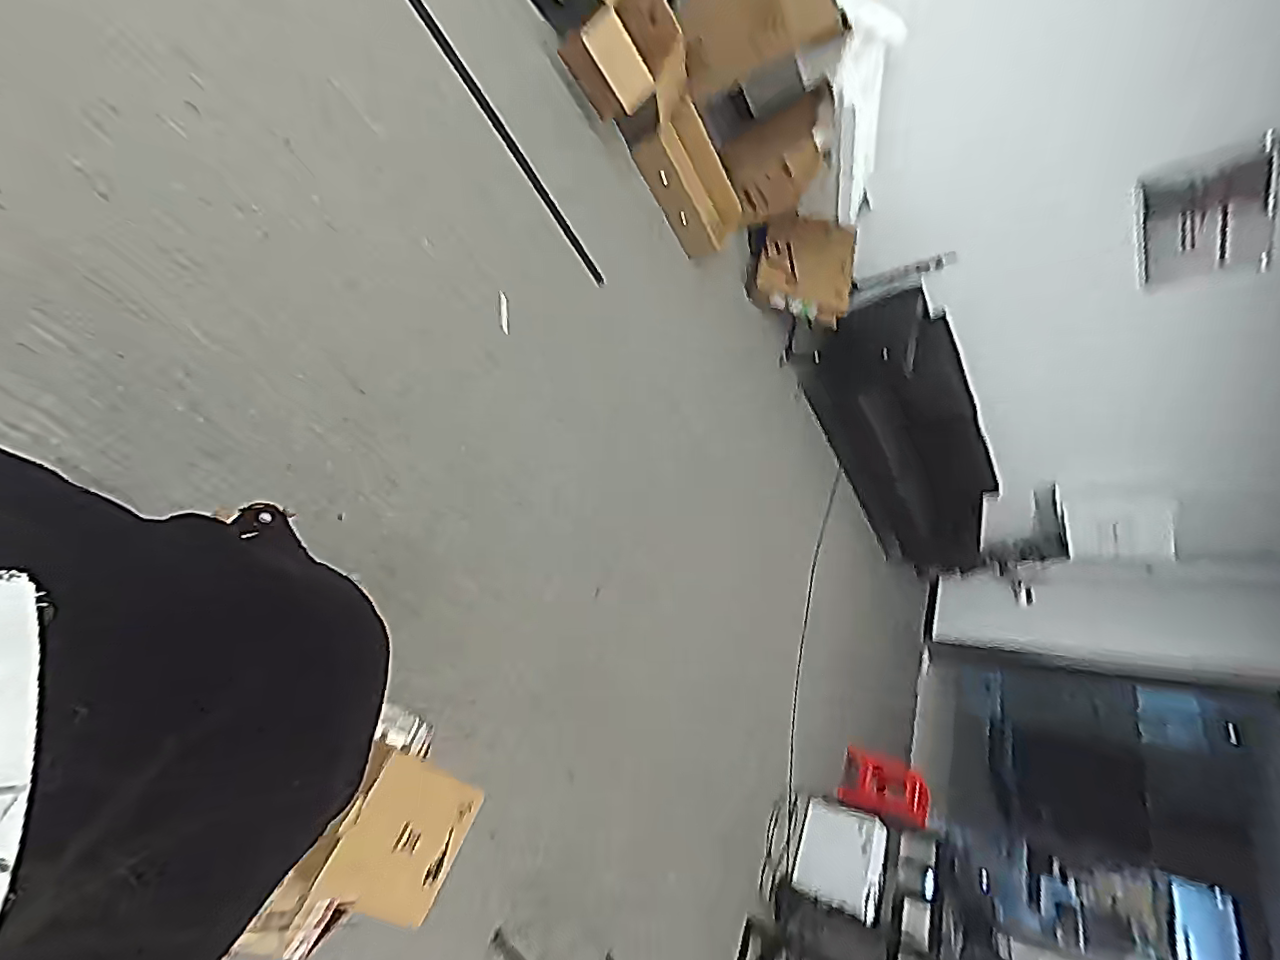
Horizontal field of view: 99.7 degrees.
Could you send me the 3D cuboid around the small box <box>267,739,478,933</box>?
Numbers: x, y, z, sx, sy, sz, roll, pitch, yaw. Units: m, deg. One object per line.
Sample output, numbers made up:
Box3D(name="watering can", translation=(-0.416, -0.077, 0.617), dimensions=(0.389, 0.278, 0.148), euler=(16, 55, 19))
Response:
Box3D(name="small box", translation=(-0.375, 0.486, 0.760), dimensions=(0.179, 0.176, 0.168), euler=(50, 50, -30))
